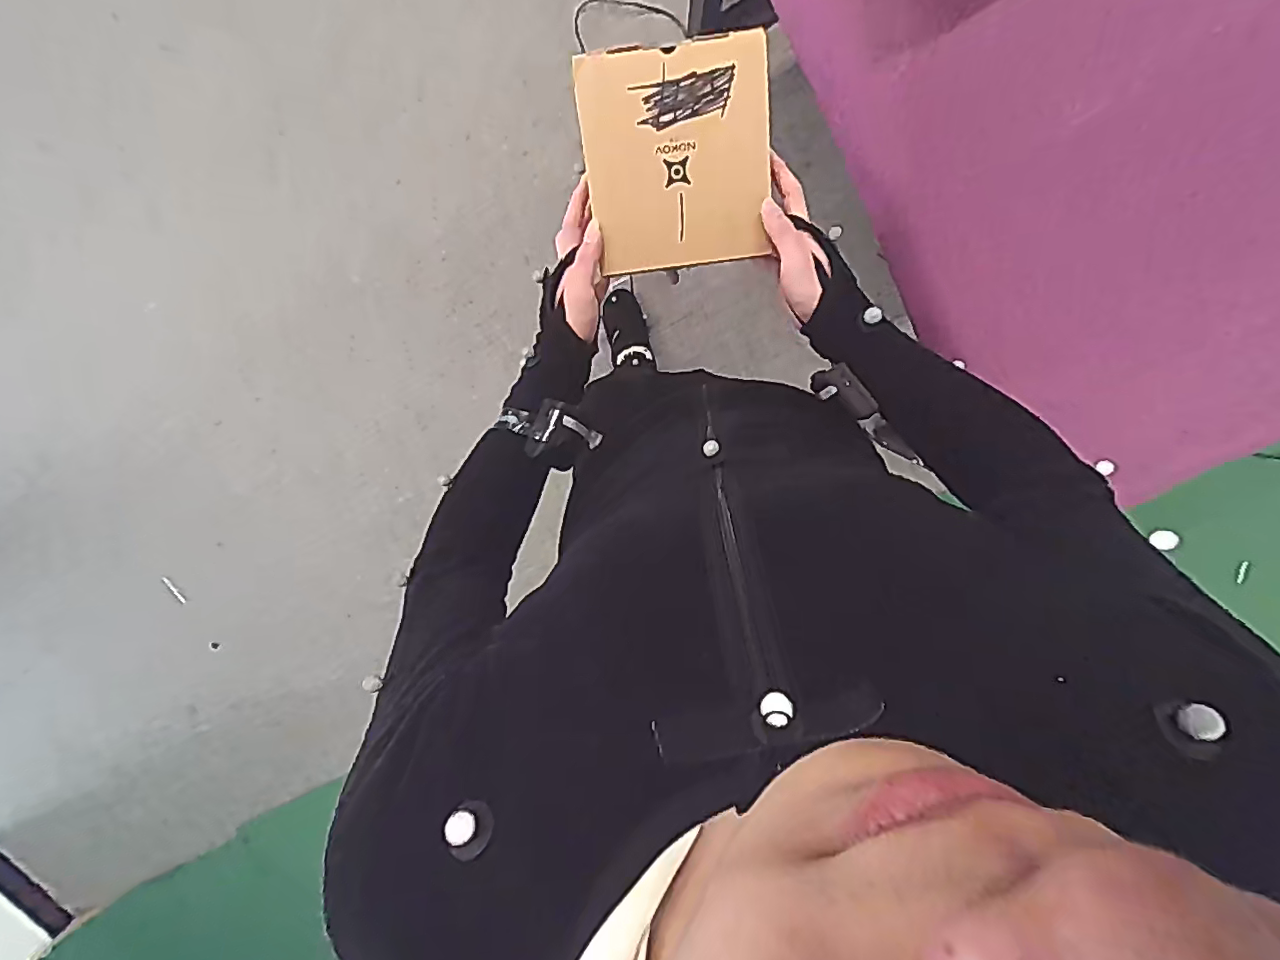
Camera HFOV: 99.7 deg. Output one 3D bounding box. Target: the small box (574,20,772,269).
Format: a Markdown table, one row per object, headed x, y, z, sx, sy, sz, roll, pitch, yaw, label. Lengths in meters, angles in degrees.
| x | y | z | sx | sy | sz | roll | pitch | yaw | label |
| --- | --- | --- | --- | --- | --- | --- | --- | --- | --- |
| 0.032 | -0.315 | 0.547 | 0.168 | 0.176 | 0.179 | -6 | 111 | 2 | small box |
